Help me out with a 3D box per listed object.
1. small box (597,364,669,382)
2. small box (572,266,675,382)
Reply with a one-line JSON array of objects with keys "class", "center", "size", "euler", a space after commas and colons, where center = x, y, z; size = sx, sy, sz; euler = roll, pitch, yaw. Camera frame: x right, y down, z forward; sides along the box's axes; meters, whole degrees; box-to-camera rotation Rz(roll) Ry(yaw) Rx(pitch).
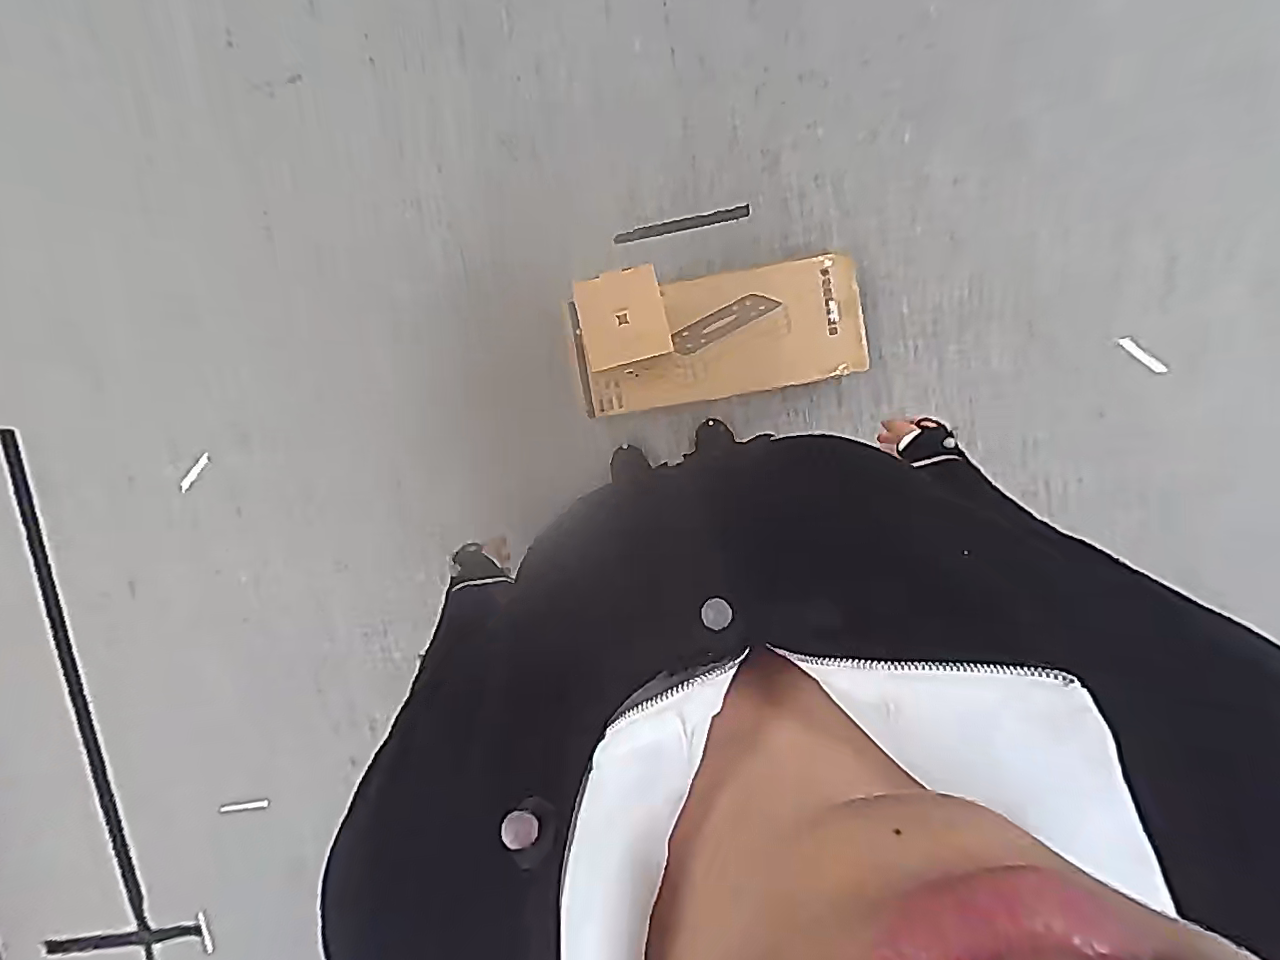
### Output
[{"class": "small box", "center": [-0.023, -0.329, 1.282], "size": [0.168, 0.176, 0.179], "euler": [-8, 95, 2]}, {"class": "small box", "center": [-0.031, -0.314, 1.120], "size": [0.168, 0.176, 0.179], "euler": [-15, 95, 3]}]
